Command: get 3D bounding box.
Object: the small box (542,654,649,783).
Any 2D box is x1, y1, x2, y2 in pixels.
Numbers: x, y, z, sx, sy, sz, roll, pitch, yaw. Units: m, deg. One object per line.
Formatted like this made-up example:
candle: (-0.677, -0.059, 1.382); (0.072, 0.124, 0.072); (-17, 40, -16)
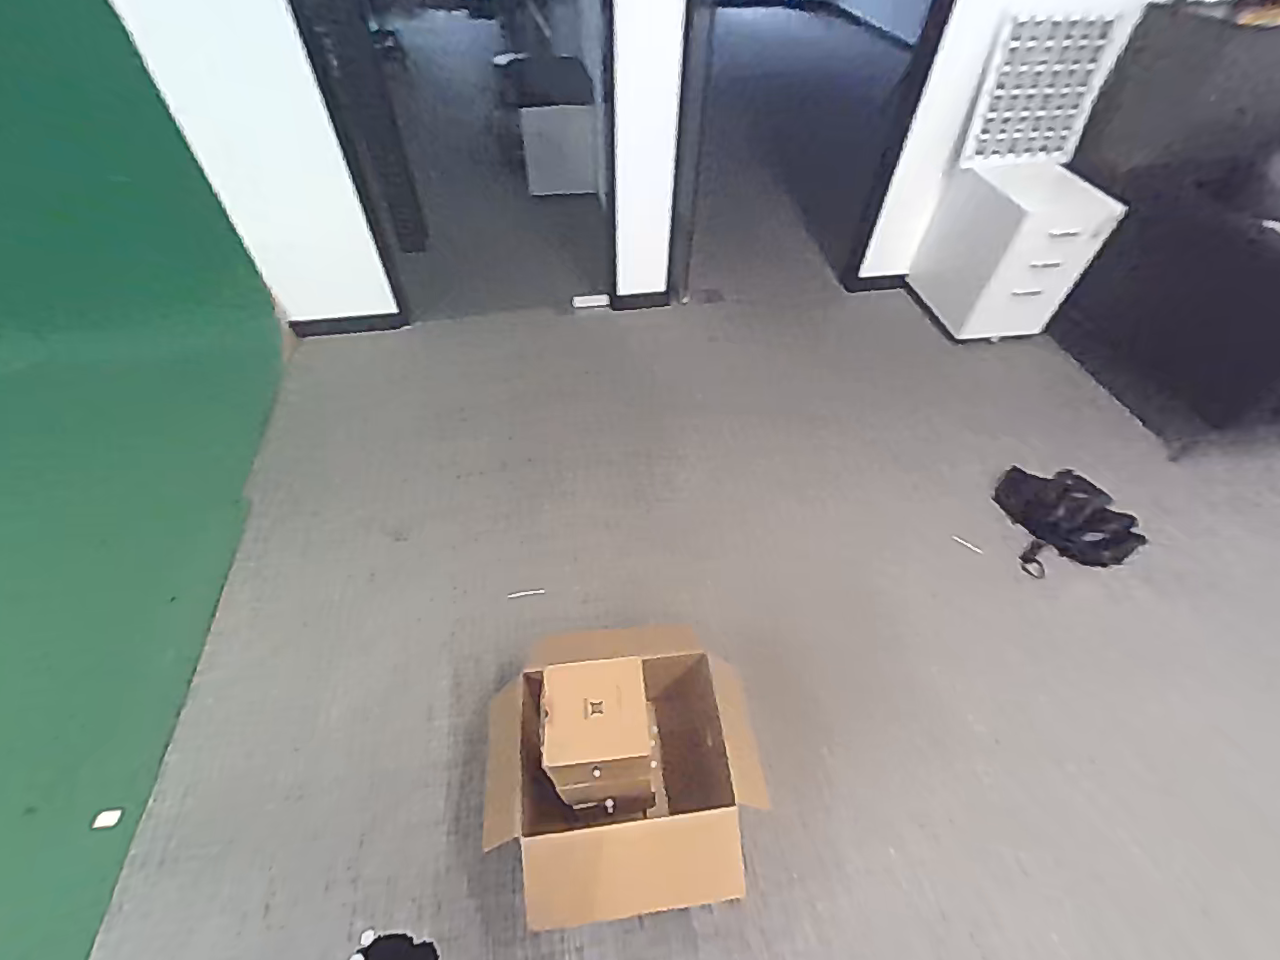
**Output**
small box: (-0.078, 0.435, 0.981); (0.179, 0.176, 0.168); (-6, 52, -5)
